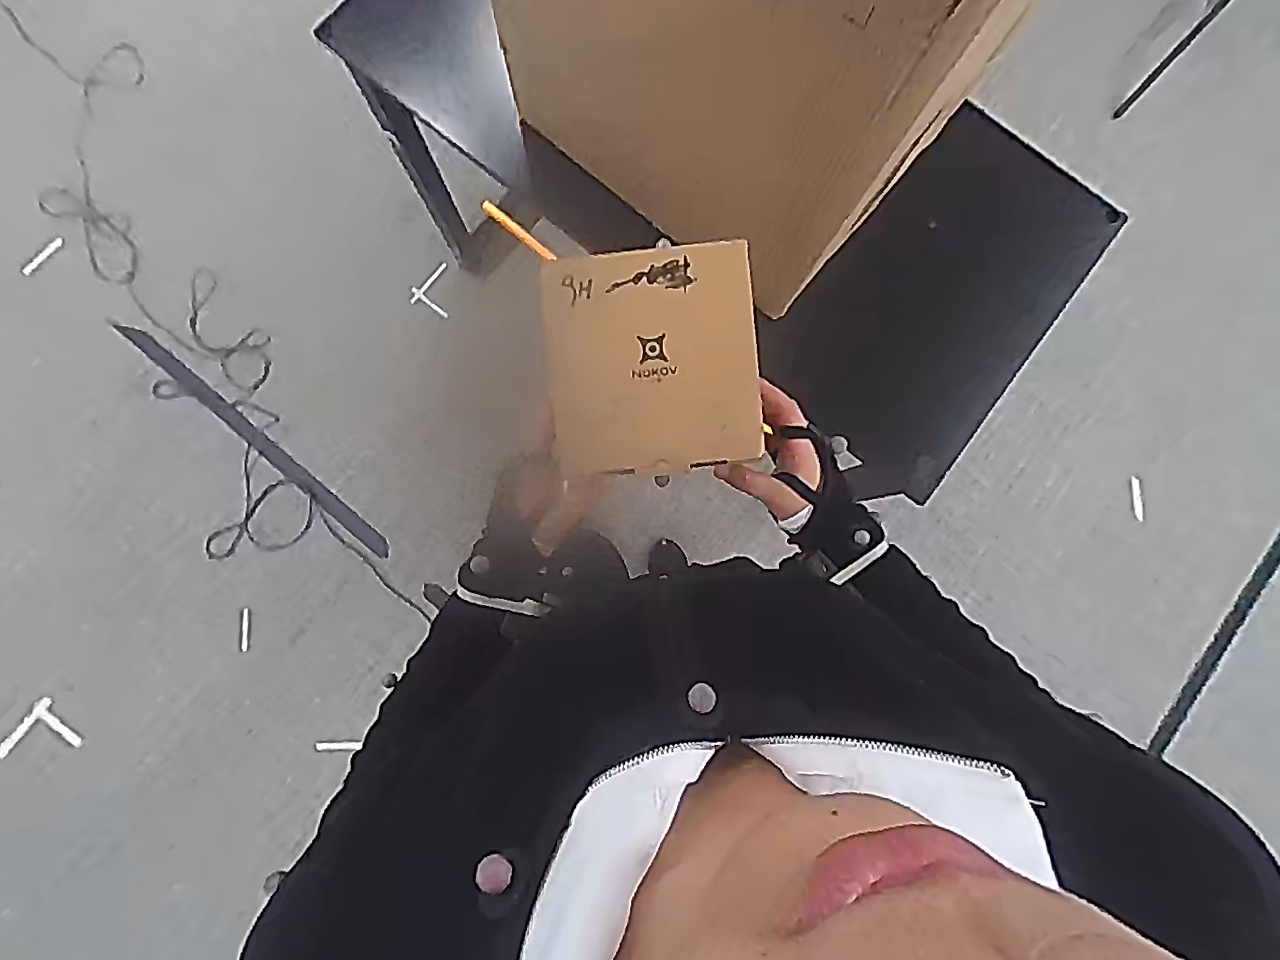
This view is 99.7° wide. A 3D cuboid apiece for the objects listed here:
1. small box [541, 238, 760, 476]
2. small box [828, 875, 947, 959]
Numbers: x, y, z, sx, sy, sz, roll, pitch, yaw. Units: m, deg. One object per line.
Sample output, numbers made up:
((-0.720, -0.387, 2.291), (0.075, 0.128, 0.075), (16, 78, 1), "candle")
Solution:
((0.013, -0.100, 0.507), (0.168, 0.176, 0.179), (-5, 92, 3), "small box")
((0.601, 1.134, 1.336), (0.179, 0.176, 0.168), (32, 82, 3), "small box")
